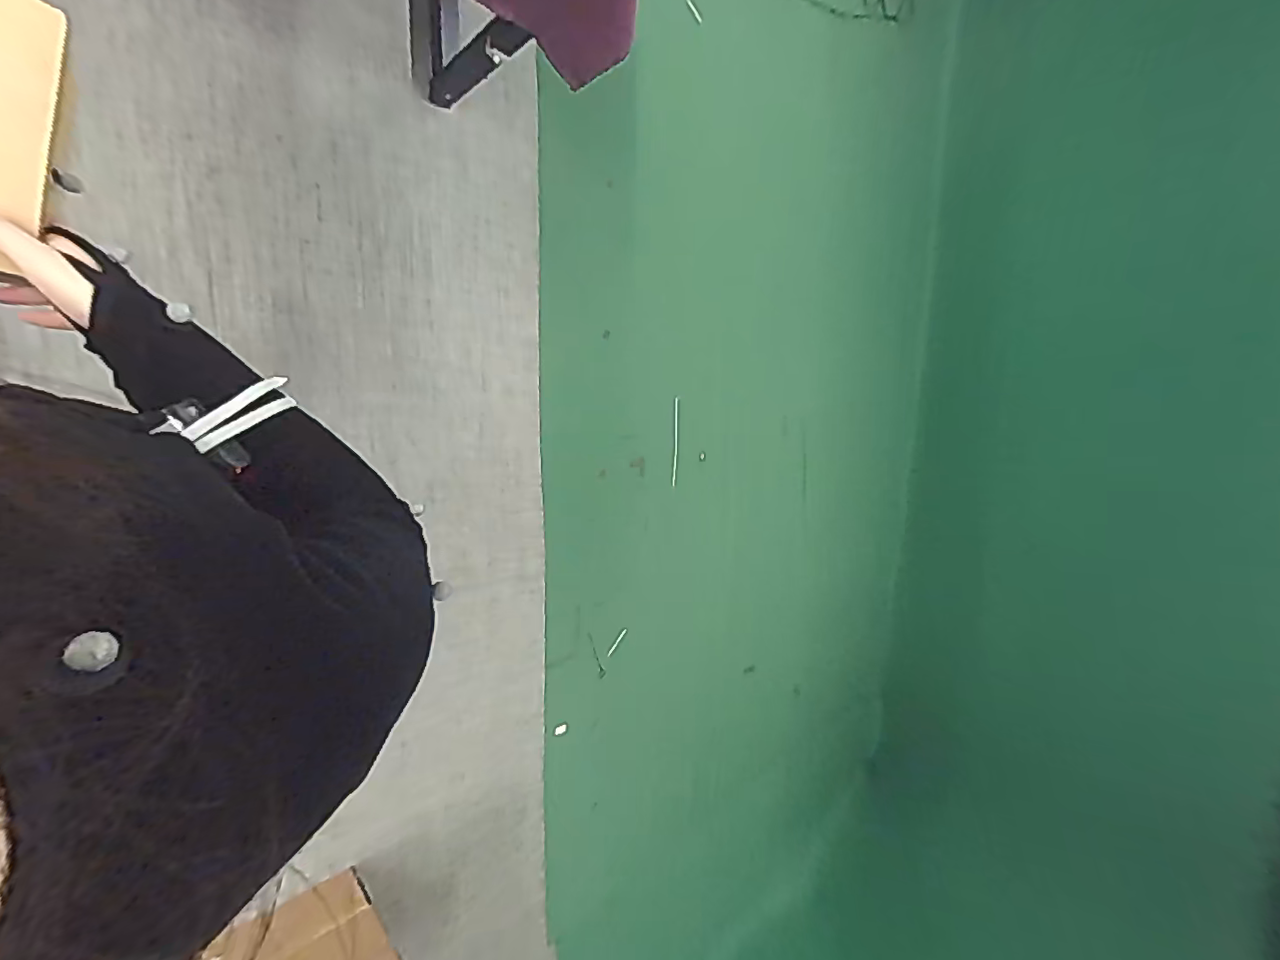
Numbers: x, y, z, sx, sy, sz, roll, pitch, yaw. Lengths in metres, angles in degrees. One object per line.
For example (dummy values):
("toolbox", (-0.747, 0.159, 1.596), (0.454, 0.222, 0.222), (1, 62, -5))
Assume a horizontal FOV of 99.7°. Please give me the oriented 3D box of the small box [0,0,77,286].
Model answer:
("small box", (-0.511, -0.244, 0.364), (0.168, 0.176, 0.179), (9, 94, -45))
